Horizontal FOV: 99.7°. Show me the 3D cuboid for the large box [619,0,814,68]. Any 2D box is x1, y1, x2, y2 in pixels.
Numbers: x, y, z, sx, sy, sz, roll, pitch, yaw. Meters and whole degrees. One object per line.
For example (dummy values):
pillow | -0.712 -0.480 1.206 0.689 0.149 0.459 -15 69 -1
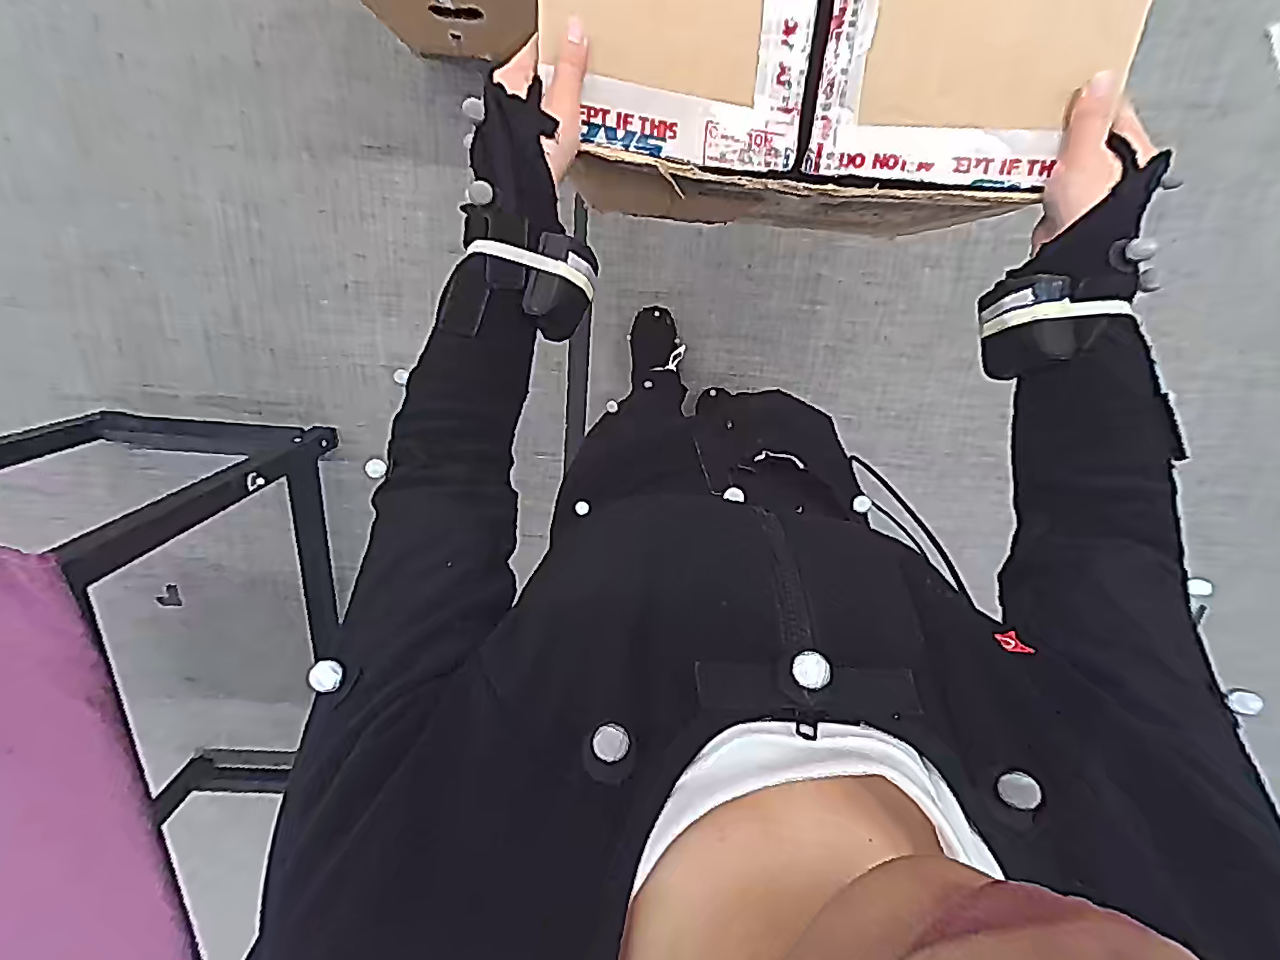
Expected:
large box | 0.123 -0.981 0.893 0.320 0.320 0.408 3 111 -1
